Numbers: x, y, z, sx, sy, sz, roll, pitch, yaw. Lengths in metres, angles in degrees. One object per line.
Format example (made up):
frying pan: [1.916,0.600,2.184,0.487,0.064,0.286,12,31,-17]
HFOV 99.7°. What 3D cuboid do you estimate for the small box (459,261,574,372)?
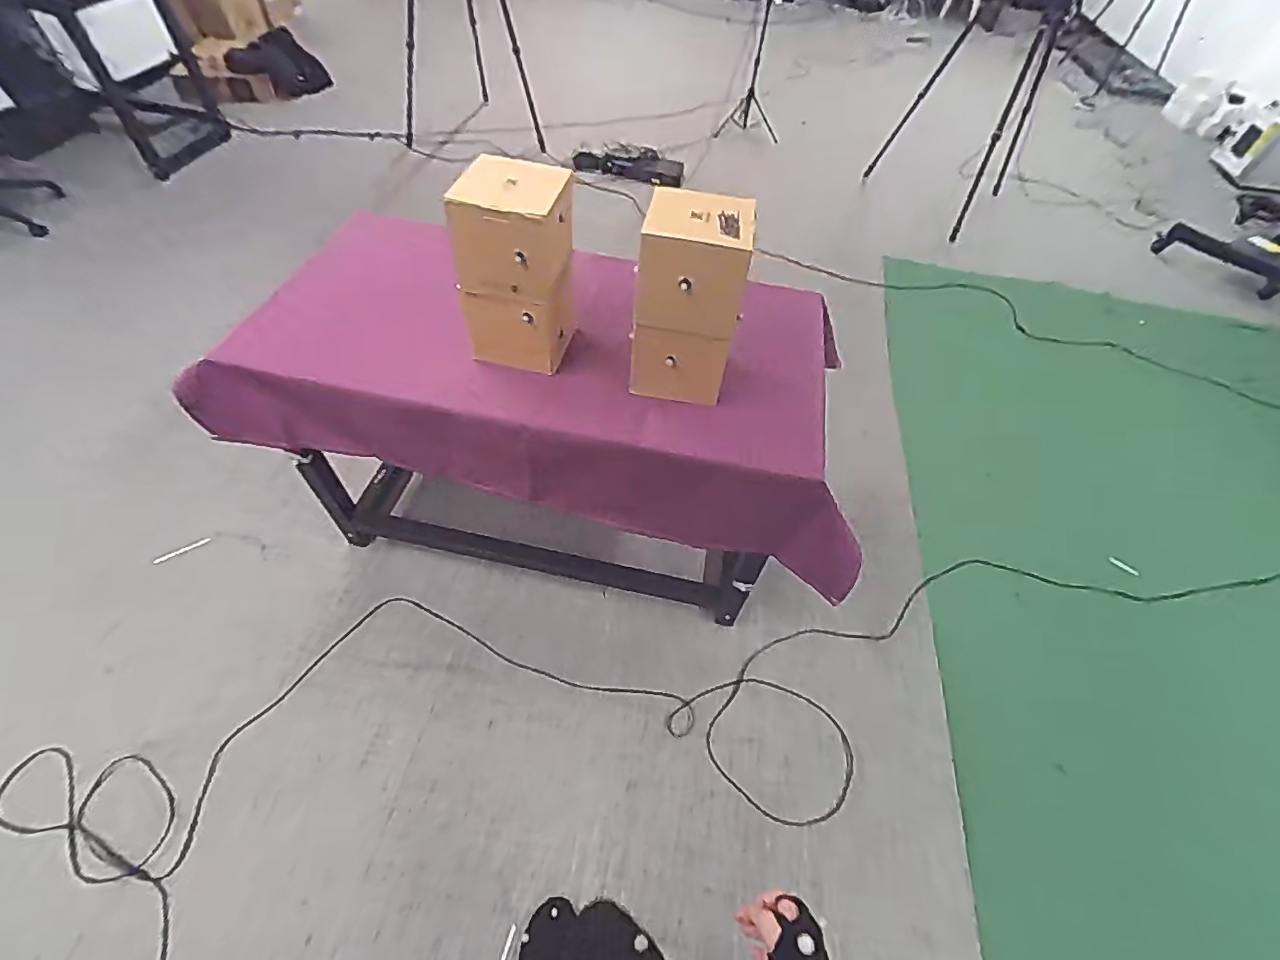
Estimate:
small box: [-0.239,-0.342,1.093,0.179,0.176,0.168,12,52,3]

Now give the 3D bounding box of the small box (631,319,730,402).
small box: [0.079,-0.273,1.065,0.179,0.176,0.168,9,52,2]

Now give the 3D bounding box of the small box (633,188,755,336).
small box: [0.090,-0.371,0.934,0.179,0.176,0.168,10,52,3]

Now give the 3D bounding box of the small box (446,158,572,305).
small box: [-0.220,-0.439,0.964,0.168,0.176,0.179,12,51,2]
